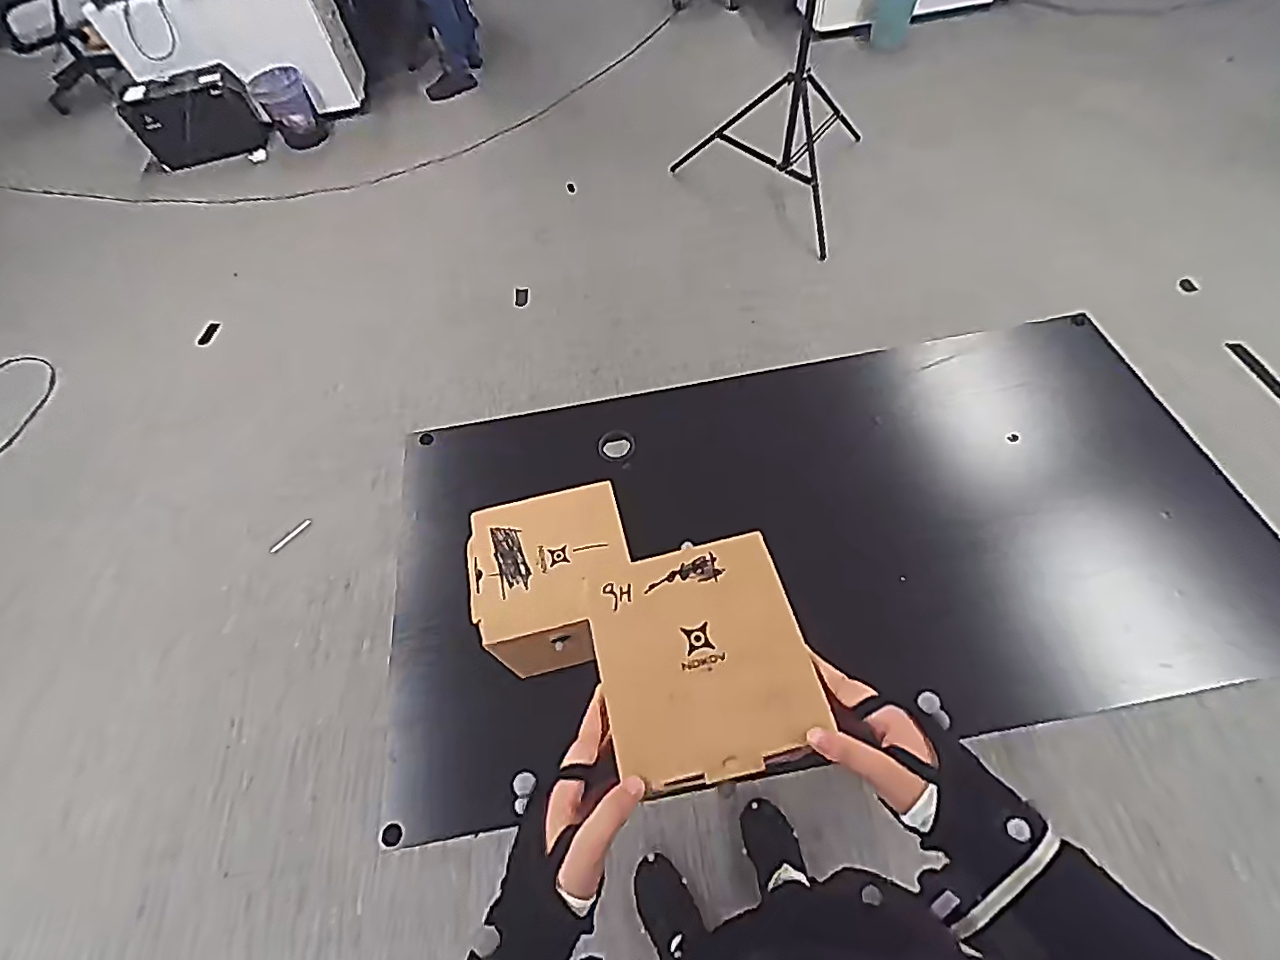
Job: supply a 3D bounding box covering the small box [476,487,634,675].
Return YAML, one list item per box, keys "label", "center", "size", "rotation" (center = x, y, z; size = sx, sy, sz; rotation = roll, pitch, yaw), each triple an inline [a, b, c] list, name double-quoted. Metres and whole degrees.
- label: "small box"
  center: [-0.094, 0.136, 0.694]
  size: [0.179, 0.176, 0.168]
  rotation: [-14, 59, -4]

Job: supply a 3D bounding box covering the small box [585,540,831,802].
- label: "small box"
  center: [0.054, 0.183, 0.511]
  size: [0.168, 0.176, 0.179]
  rotation: [-14, 60, -3]
